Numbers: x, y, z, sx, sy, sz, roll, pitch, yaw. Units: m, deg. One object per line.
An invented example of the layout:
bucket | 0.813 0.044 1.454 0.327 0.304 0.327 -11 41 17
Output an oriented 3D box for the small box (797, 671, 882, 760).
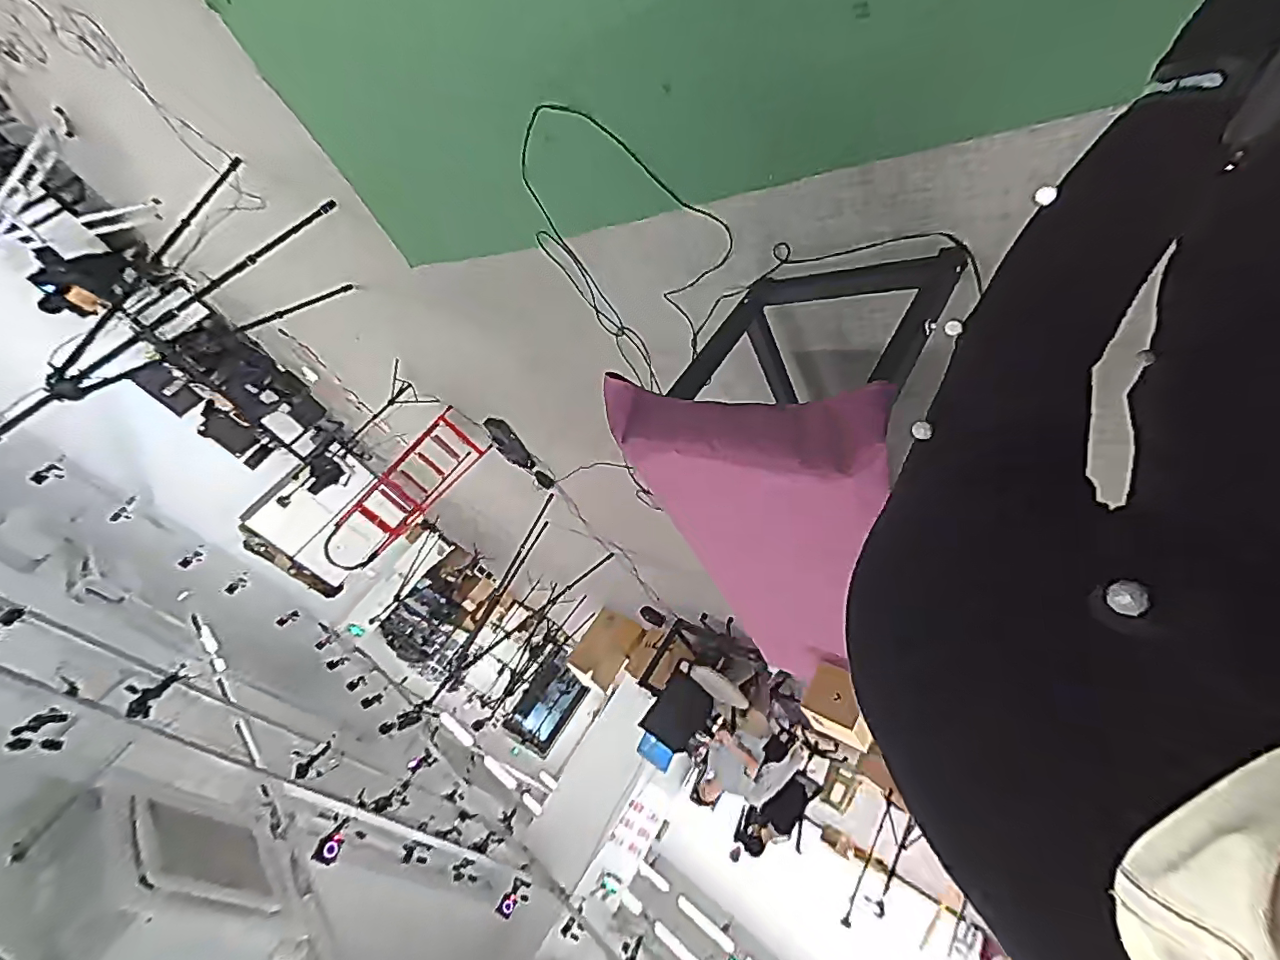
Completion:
small box | 0.616 0.714 1.660 0.179 0.176 0.168 9 144 44
